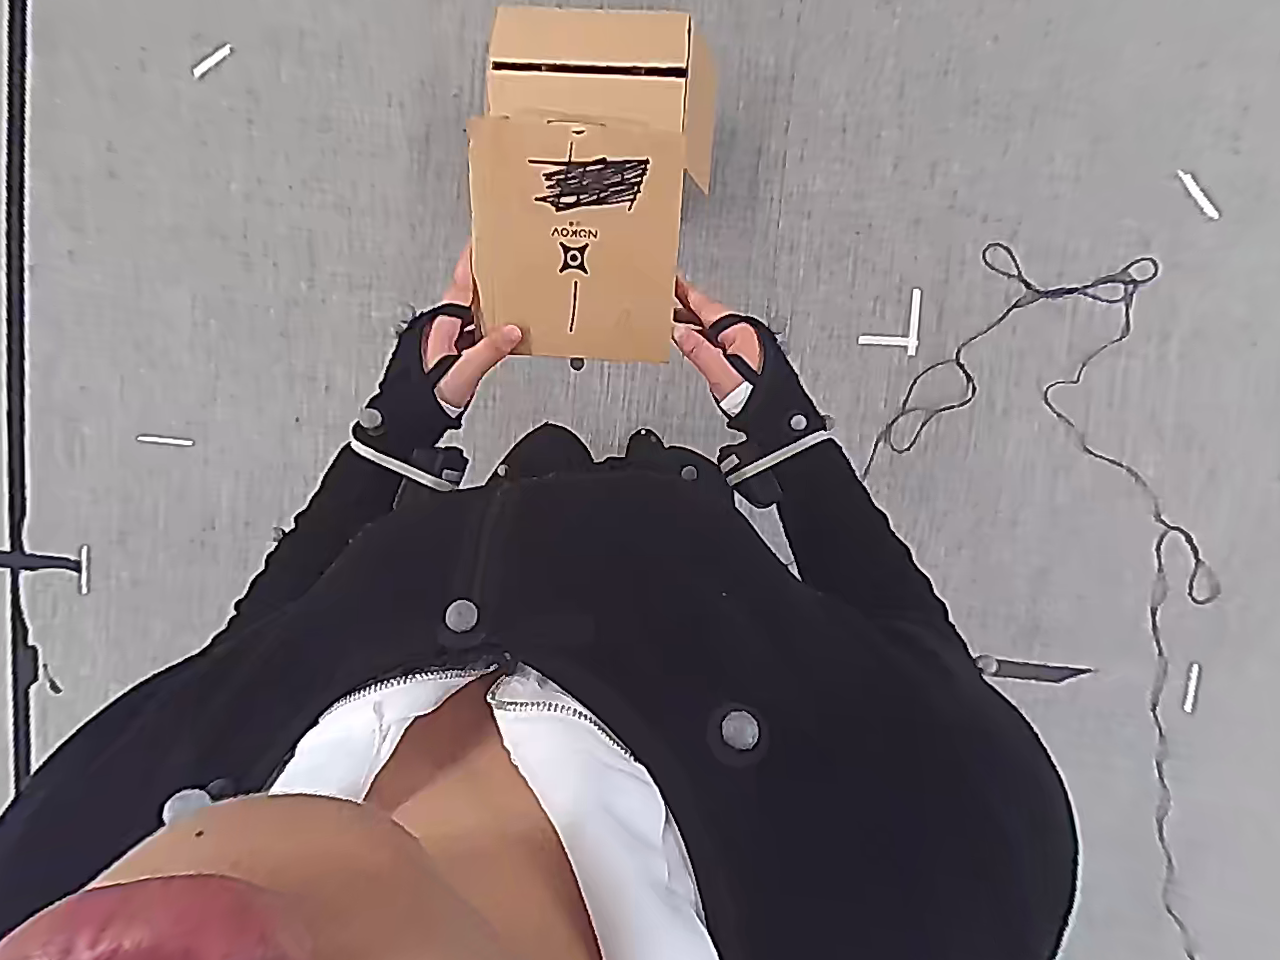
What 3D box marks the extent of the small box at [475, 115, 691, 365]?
[{"bbox_3d":[-0.050,-0.204,0.503,0.168,0.176,0.179,2,105,-2],"label":"small box"}]
